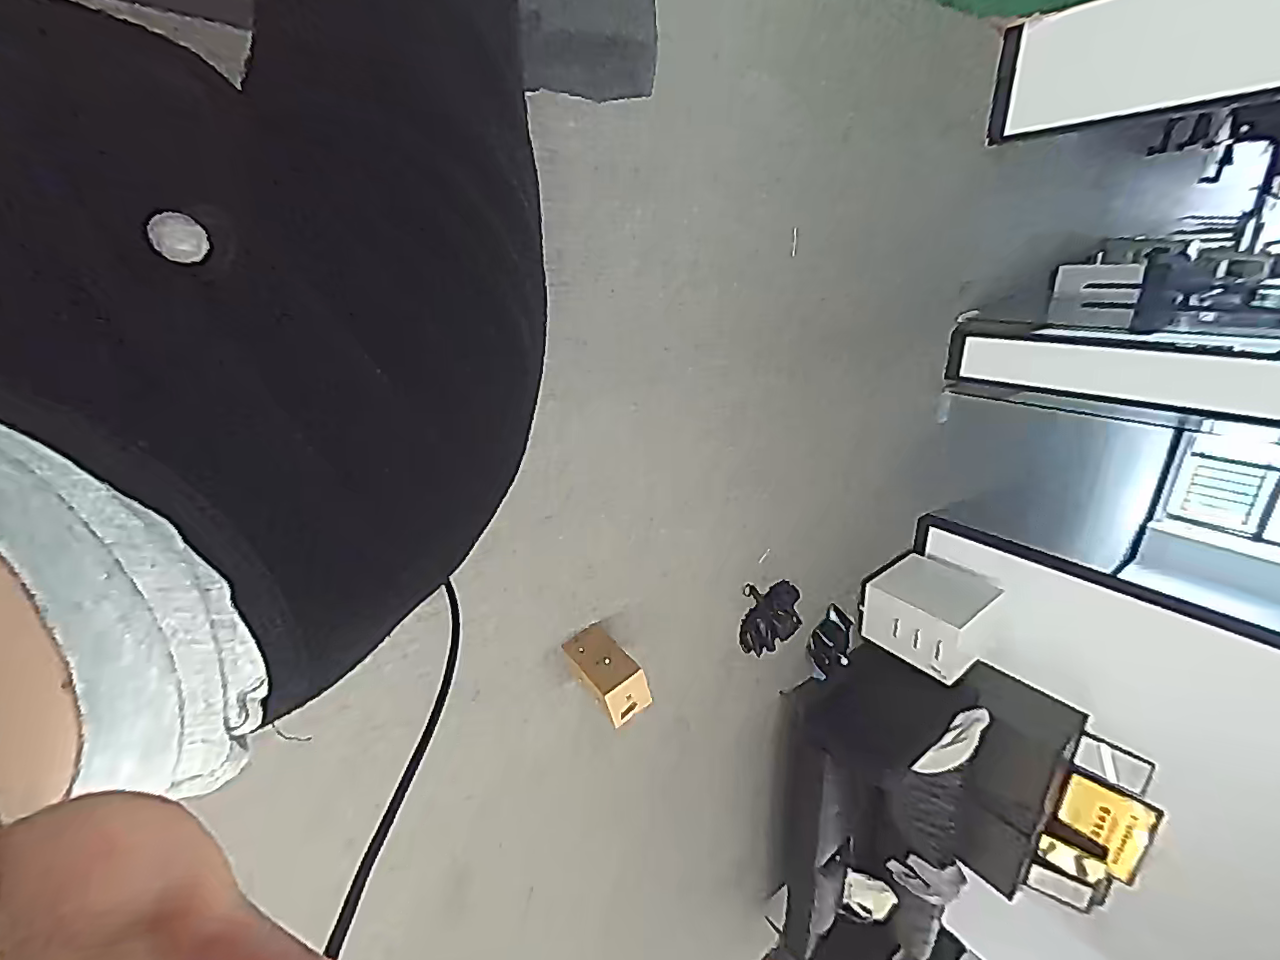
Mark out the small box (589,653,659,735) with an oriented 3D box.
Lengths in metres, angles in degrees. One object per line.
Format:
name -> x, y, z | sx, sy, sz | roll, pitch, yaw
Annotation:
small box -> -0.059, 0.760, 1.935 | 0.168, 0.176, 0.179 | -29, 120, -25

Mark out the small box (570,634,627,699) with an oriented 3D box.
small box -> -0.148, 0.715, 2.066 | 0.168, 0.176, 0.179 | -30, 123, -24
